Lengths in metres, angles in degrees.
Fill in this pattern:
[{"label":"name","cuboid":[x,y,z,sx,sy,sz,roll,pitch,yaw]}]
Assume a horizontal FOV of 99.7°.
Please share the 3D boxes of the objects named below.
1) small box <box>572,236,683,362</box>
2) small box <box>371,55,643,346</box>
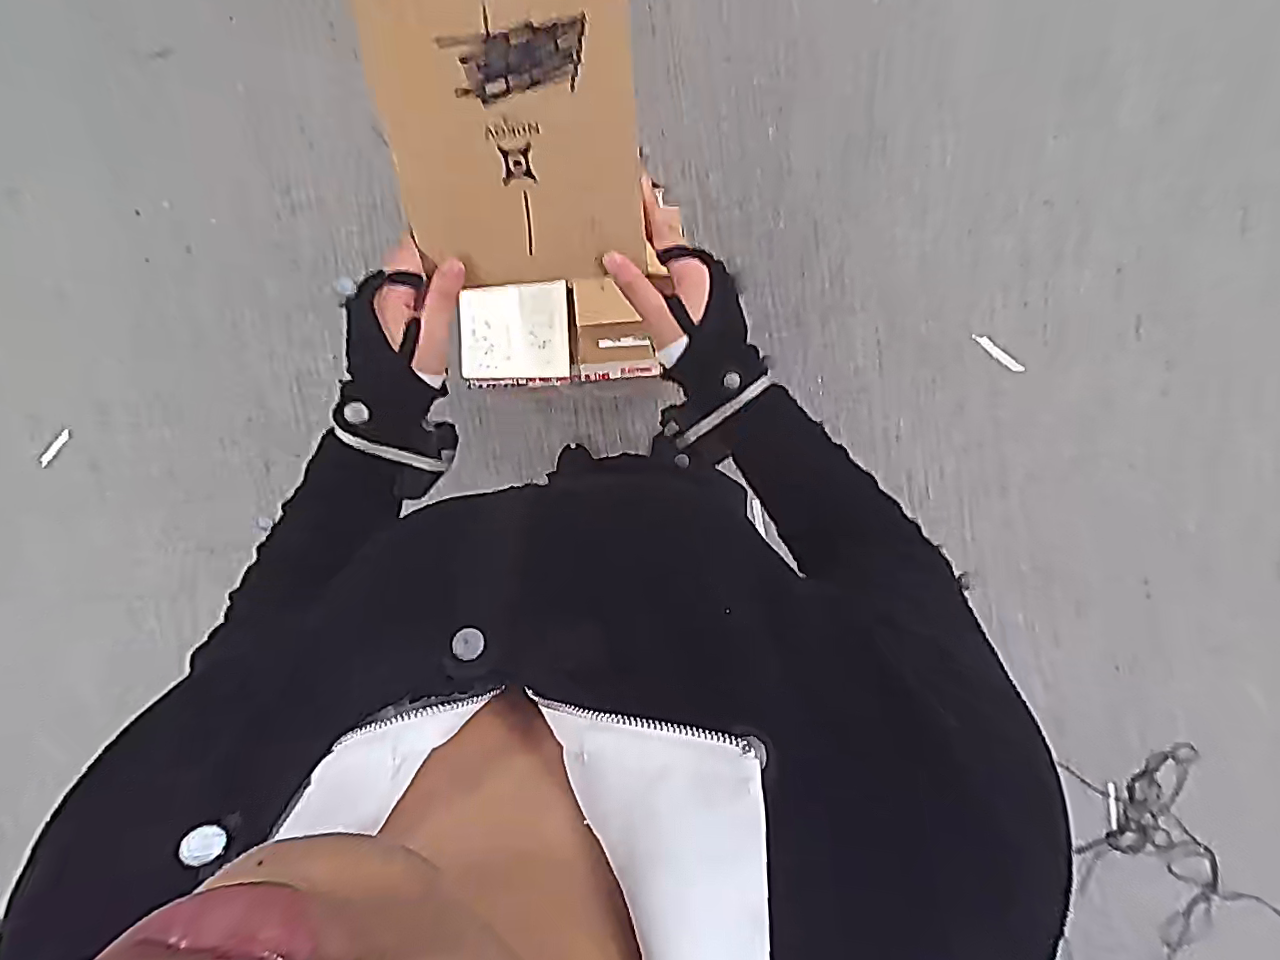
[{"label":"small box","cuboid":[-0.027,-0.296,0.913,0.179,0.176,0.168,-5,96,-1]},{"label":"small box","cuboid":[-0.090,-0.225,0.451,0.168,0.176,0.179,-6,120,-1]}]
